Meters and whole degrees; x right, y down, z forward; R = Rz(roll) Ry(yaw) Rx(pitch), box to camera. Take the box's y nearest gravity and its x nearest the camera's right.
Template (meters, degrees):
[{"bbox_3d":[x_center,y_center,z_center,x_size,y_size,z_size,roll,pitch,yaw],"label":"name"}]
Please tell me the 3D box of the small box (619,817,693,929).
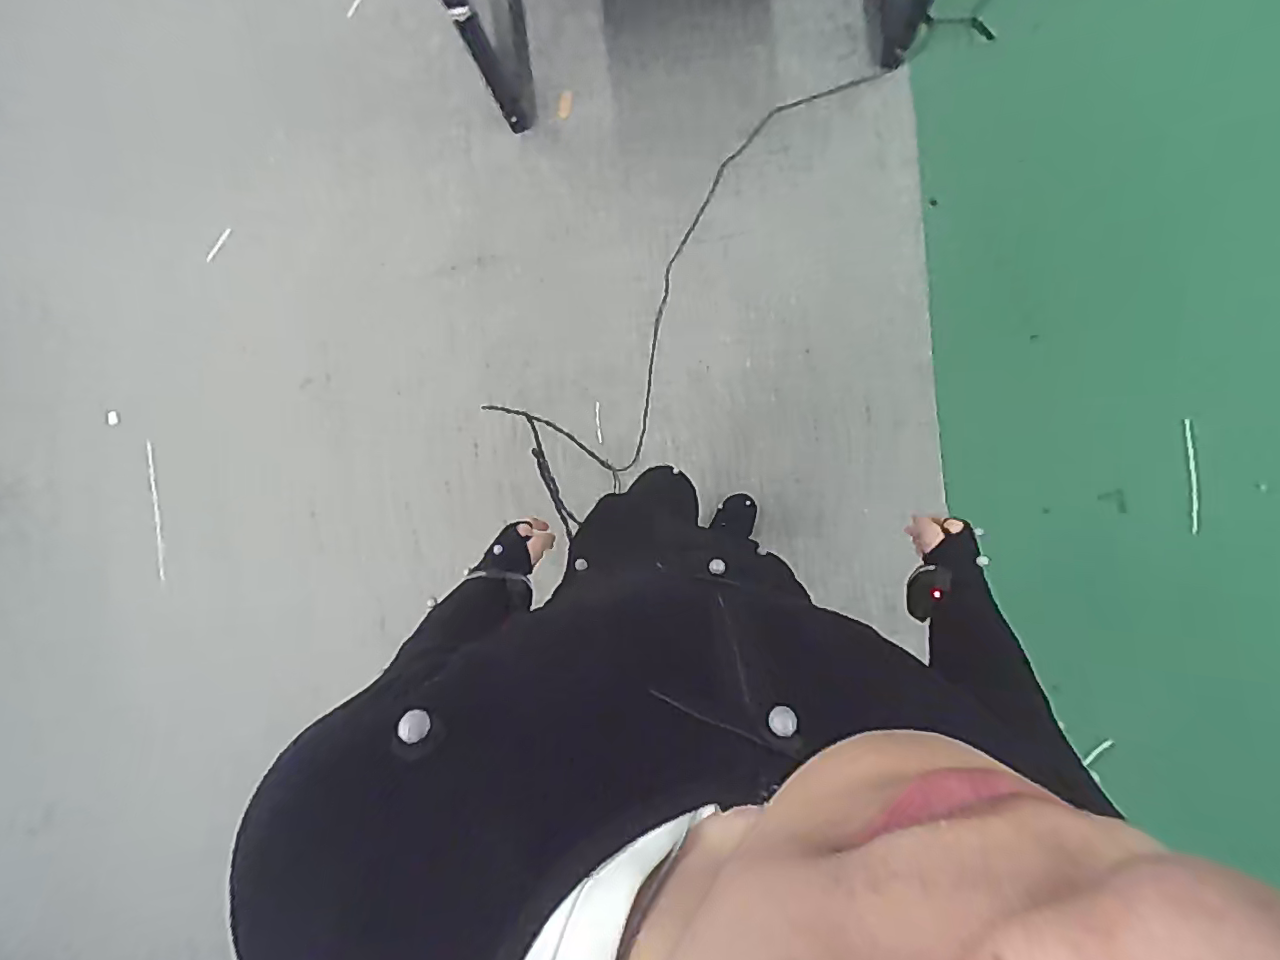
[{"bbox_3d":[0.047,1.123,1.561,0.168,0.176,0.179,18,93,4],"label":"small box"}]
